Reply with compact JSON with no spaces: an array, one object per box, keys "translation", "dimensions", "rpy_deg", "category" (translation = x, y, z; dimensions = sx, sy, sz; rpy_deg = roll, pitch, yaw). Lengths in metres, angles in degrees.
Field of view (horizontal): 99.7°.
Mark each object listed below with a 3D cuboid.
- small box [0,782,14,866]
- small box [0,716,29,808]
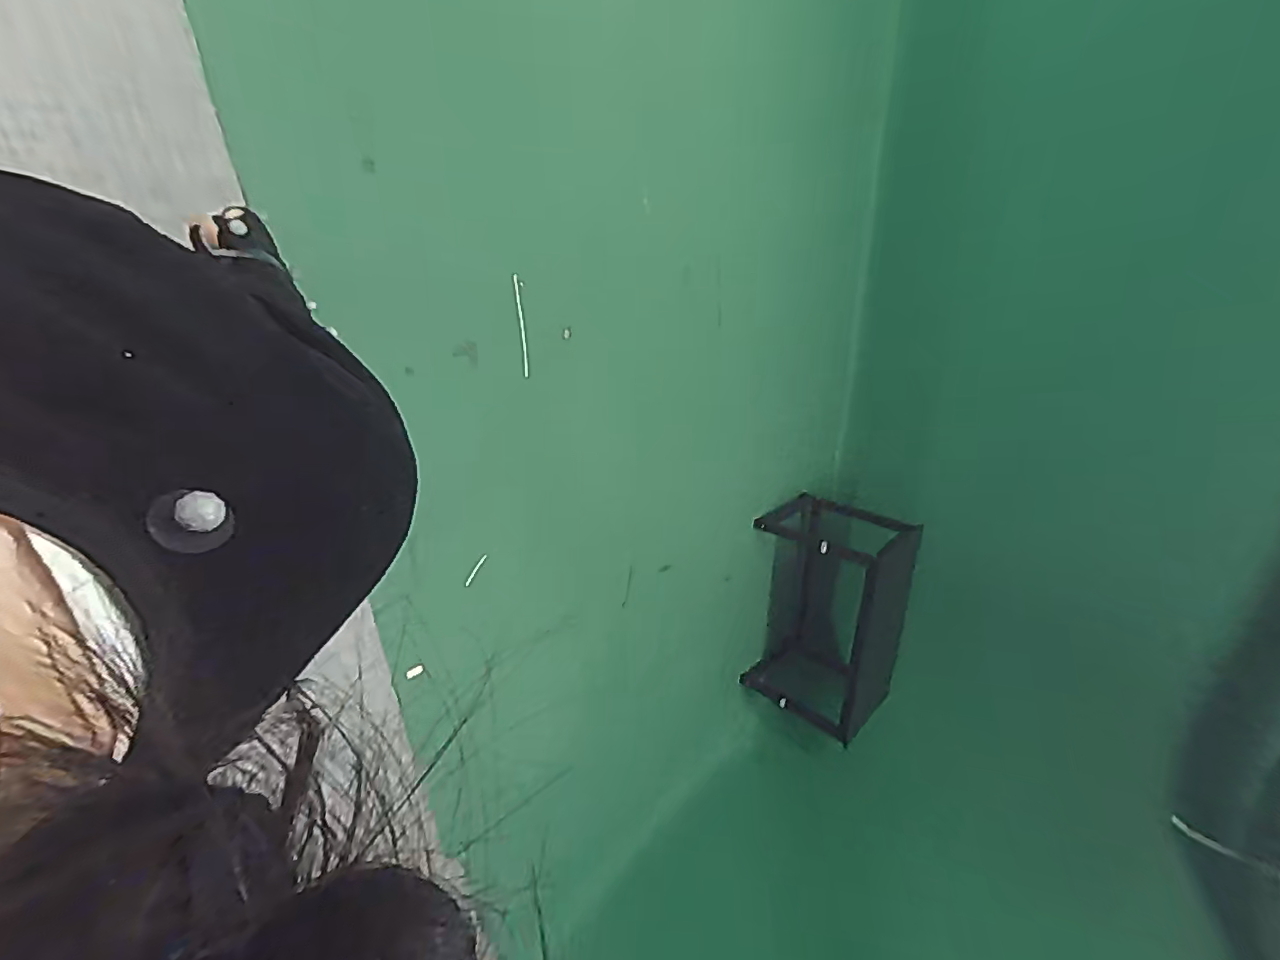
[{"translation":[-1.162,0.565,0.861],"dimensions":[0.179,0.176,0.168],"rpy_deg":[-27,121,-36],"category":"small box"},{"translation":[-1.272,0.535,0.978],"dimensions":[0.168,0.176,0.179],"rpy_deg":[-28,123,-35],"category":"small box"}]
